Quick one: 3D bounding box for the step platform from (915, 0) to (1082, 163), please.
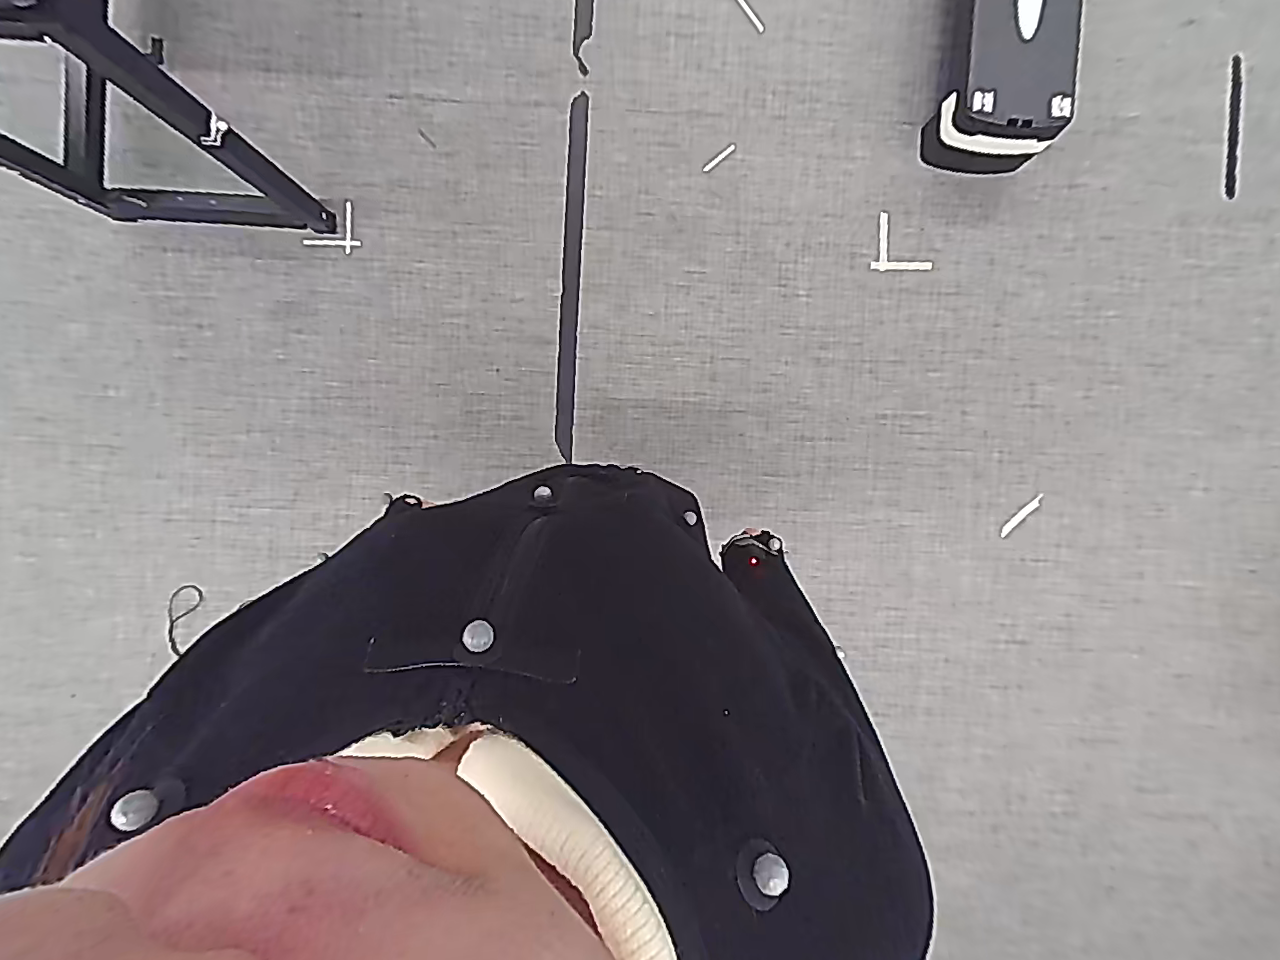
[{"bbox_3d":[0.938,-1.213,1.383,0.286,0.204,0.684,8,91,-2],"label":"step platform"}]
